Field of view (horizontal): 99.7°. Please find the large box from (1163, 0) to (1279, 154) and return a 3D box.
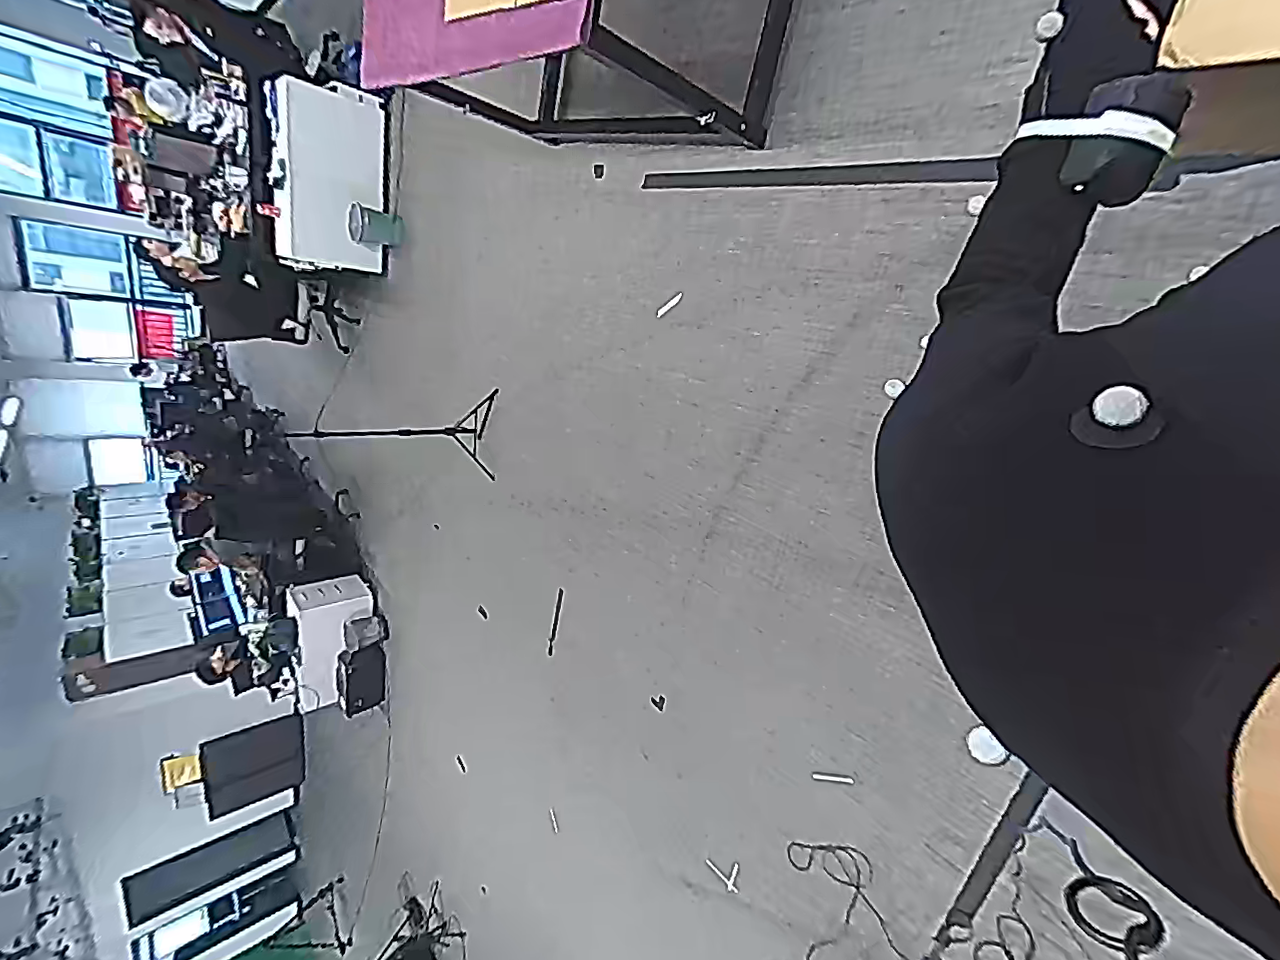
[{"bbox_3d":[0.598,-0.389,0.284,0.408,0.320,0.320,23,120,38],"label":"large box"}]
